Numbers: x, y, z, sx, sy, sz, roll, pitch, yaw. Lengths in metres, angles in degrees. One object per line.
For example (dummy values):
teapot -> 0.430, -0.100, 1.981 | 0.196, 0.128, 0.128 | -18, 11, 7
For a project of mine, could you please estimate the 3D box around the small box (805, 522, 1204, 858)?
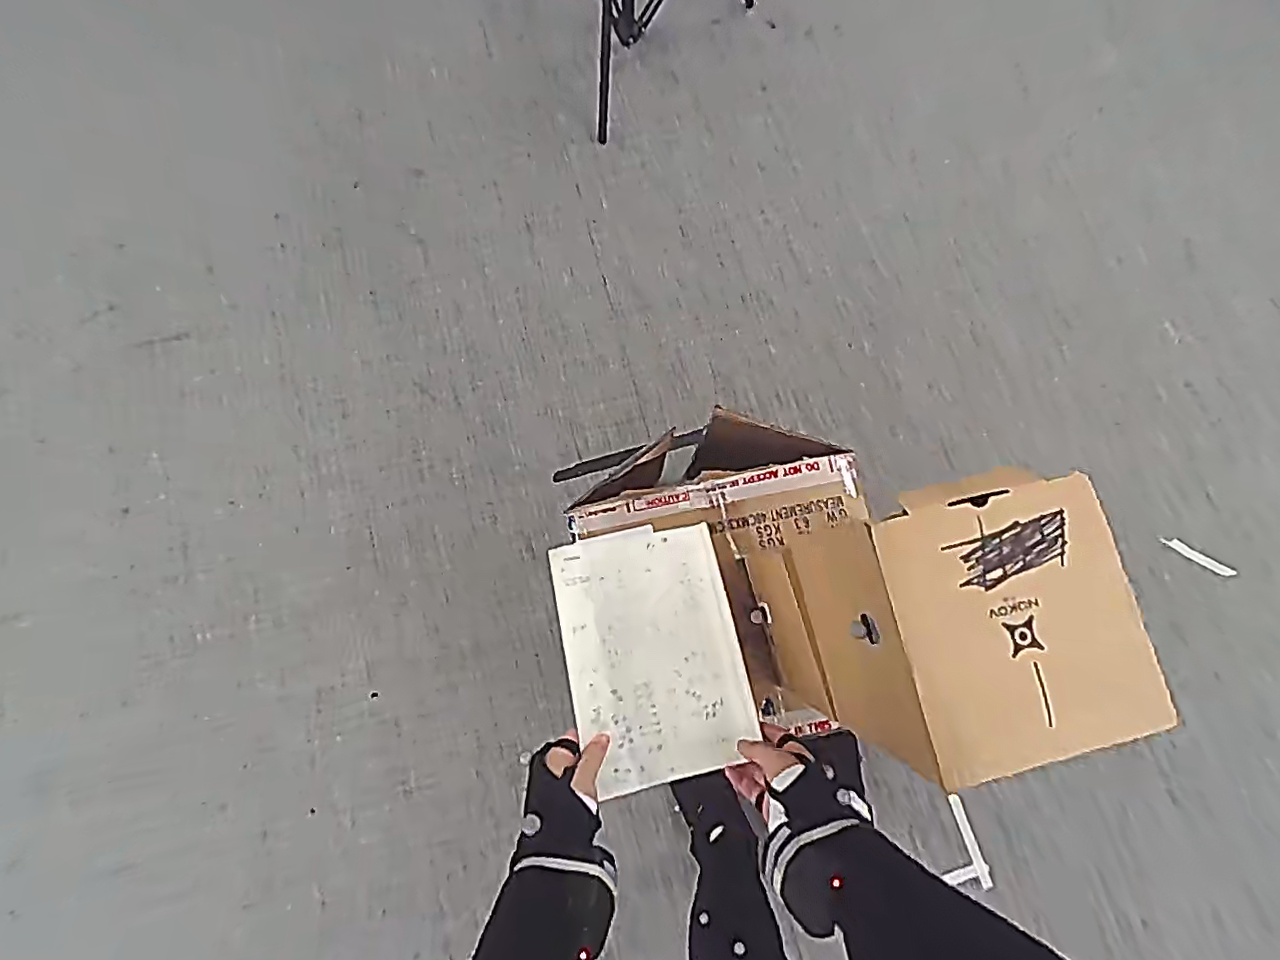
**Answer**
small box -> 0.249, 0.141, 0.421 | 0.168, 0.176, 0.179 | -12, 81, -5

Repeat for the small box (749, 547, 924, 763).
small box -> 0.238, 0.170, 0.582 | 0.179, 0.176, 0.168 | -15, 81, -5
